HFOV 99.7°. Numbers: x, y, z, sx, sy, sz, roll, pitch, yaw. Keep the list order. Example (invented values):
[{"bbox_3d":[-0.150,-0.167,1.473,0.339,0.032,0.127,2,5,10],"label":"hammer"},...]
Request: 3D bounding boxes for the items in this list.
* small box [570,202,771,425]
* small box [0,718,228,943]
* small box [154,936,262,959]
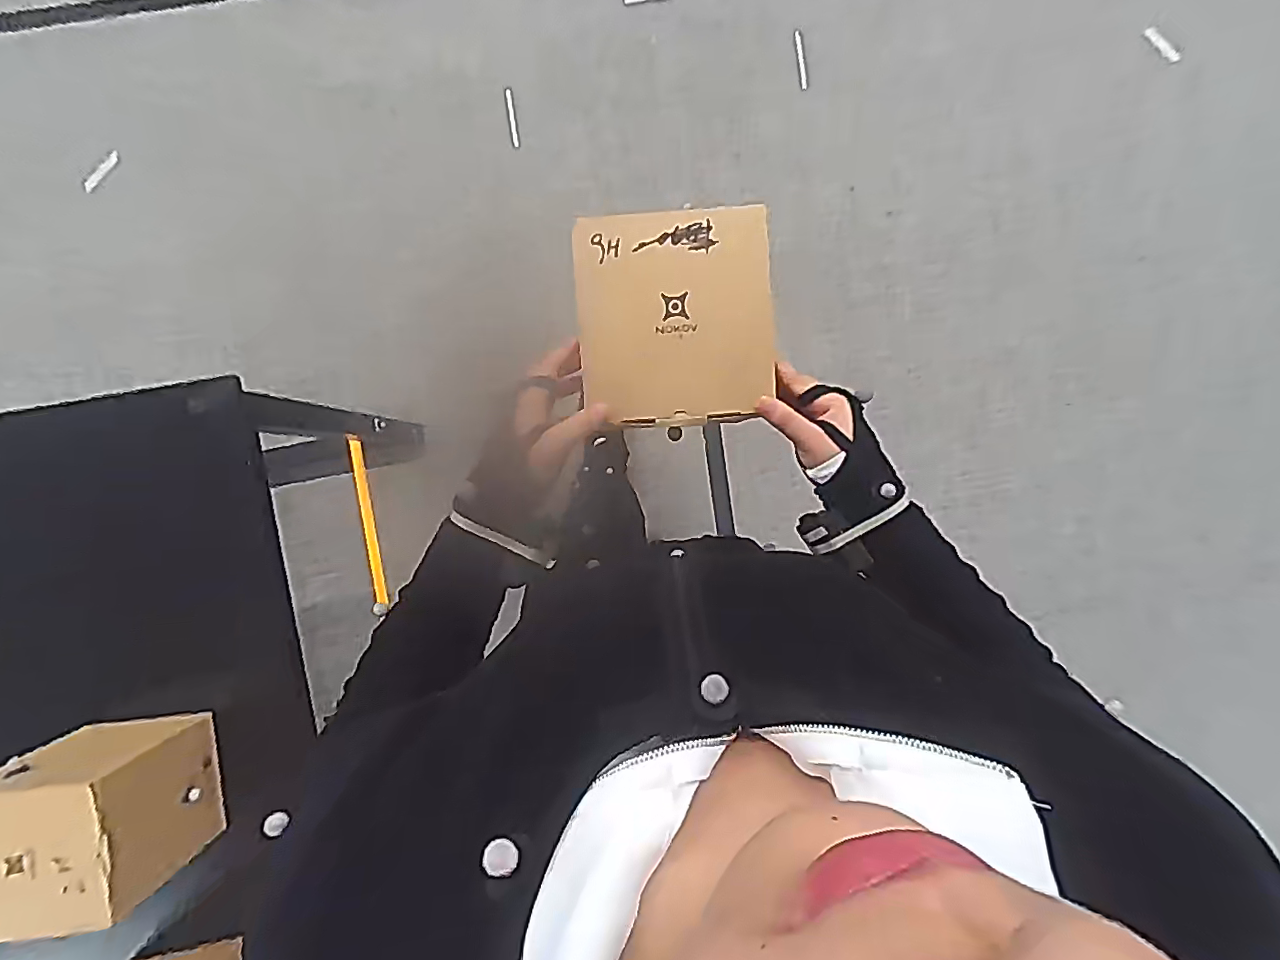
[{"bbox_3d":[0.029,-0.149,0.539,0.168,0.176,0.179,-5,96,1],"label":"small box"},{"bbox_3d":[-0.661,0.416,0.666,0.179,0.176,0.168,-6,92,-1],"label":"small box"},{"bbox_3d":[-0.604,0.735,0.678,0.179,0.176,0.168,-14,93,-2],"label":"small box"}]
